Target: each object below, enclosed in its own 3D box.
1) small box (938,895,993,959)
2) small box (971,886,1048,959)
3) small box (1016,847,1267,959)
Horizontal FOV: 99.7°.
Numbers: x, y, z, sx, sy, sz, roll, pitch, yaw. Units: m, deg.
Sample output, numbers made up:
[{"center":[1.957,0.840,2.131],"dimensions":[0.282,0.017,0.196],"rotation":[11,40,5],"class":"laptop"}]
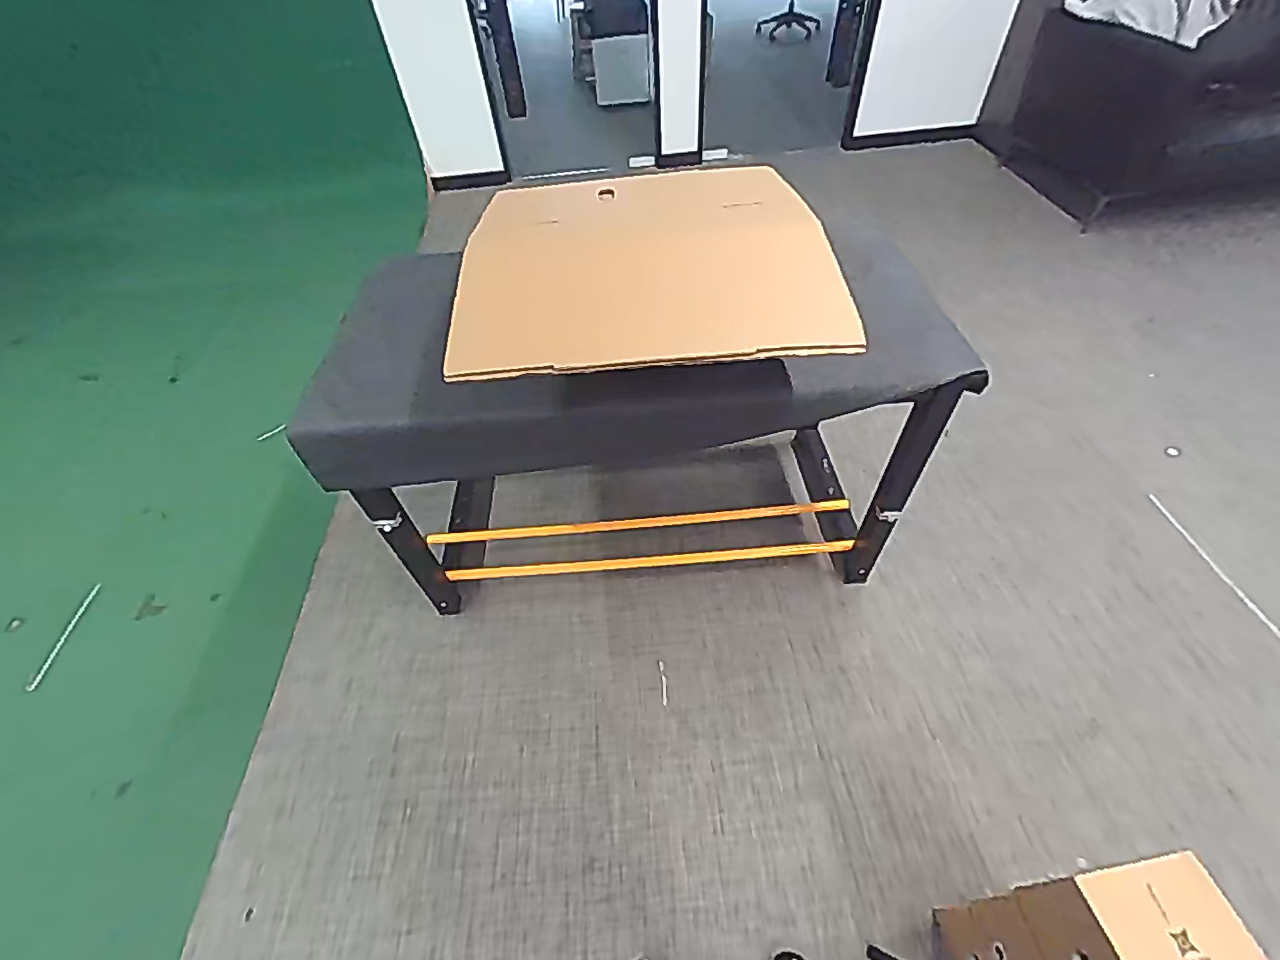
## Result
[{"center":[0.654,0.820,0.929],"dimensions":[0.168,0.176,0.179],"rotation":[-9,49,-4],"class":"small box"},{"center":[0.649,0.706,0.813],"dimensions":[0.179,0.176,0.168],"rotation":[-10,48,-4],"class":"small box"},{"center":[0.638,0.597,0.690],"dimensions":[0.168,0.176,0.179],"rotation":[-9,48,-4],"class":"small box"}]
